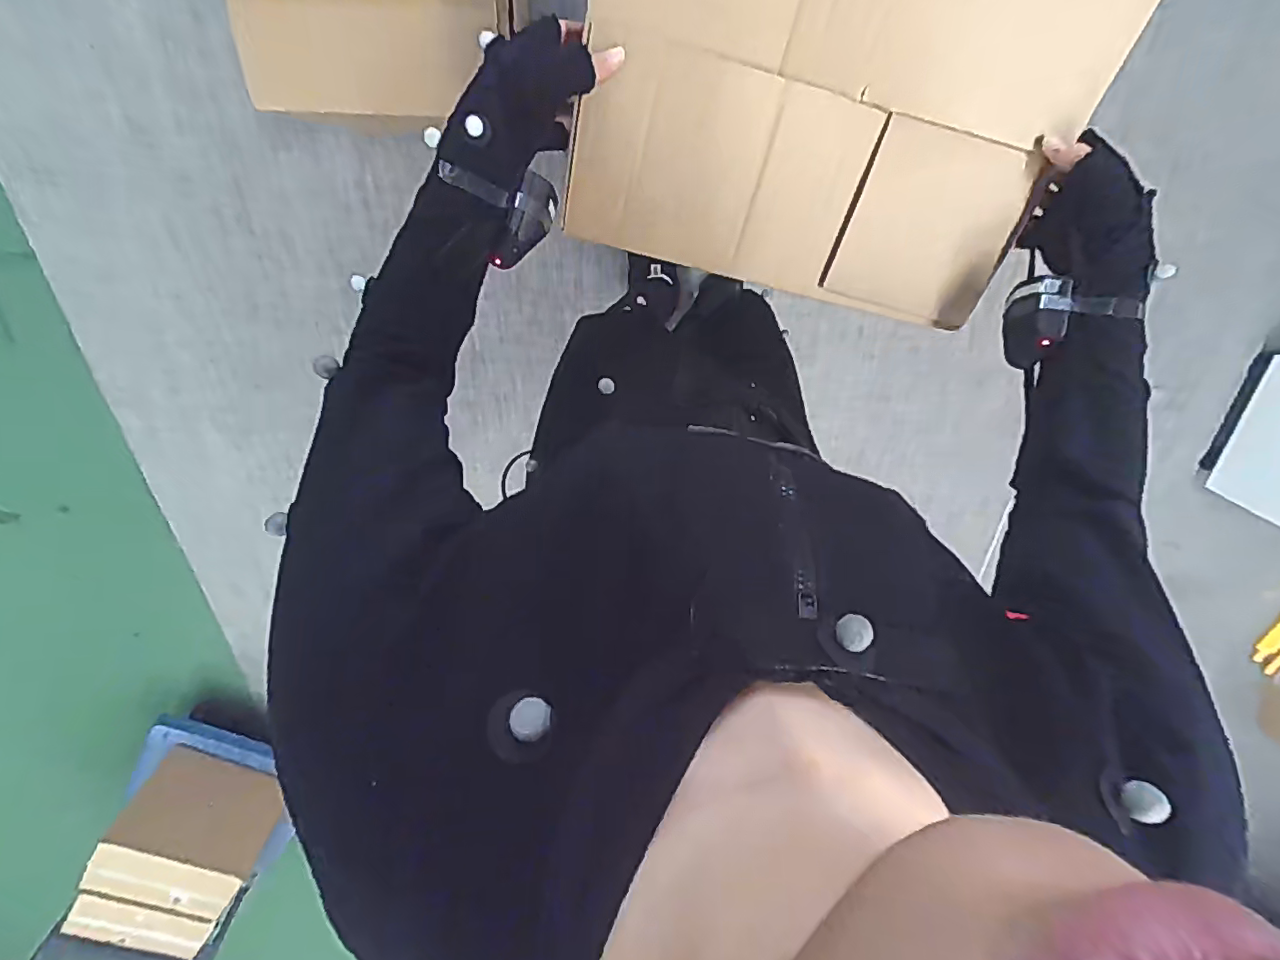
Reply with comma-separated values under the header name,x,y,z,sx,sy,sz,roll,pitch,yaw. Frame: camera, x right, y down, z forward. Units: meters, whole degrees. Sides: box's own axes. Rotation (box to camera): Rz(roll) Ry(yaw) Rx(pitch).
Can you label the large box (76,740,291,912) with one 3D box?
name,x,y,z,sx,sy,sz,roll,pitch,yaw
large box,-1.465,1.125,1.766,0.408,0.320,0.320,32,114,-19
